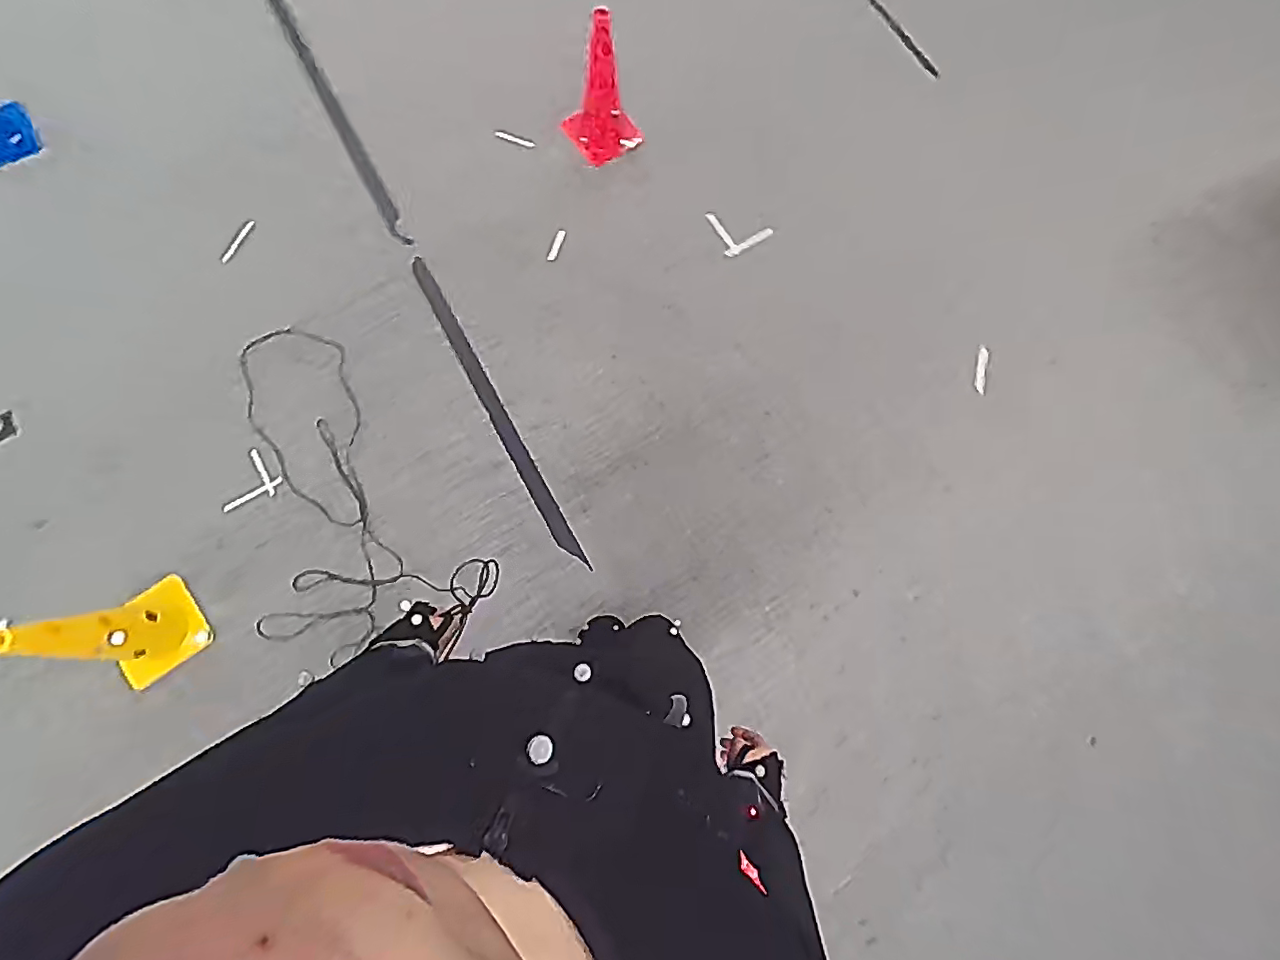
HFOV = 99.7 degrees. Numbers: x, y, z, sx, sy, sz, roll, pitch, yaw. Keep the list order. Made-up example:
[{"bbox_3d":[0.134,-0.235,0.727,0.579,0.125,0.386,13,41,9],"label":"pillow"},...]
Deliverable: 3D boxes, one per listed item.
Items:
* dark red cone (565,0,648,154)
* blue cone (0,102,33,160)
[{"bbox_3d":[-0.094,-1.136,1.491,0.201,0.394,0.202,-36,82,-9],"label":"dark red cone"},{"bbox_3d":[-1.848,-1.025,1.388,0.192,0.380,0.193,-28,80,-8],"label":"blue cone"}]
